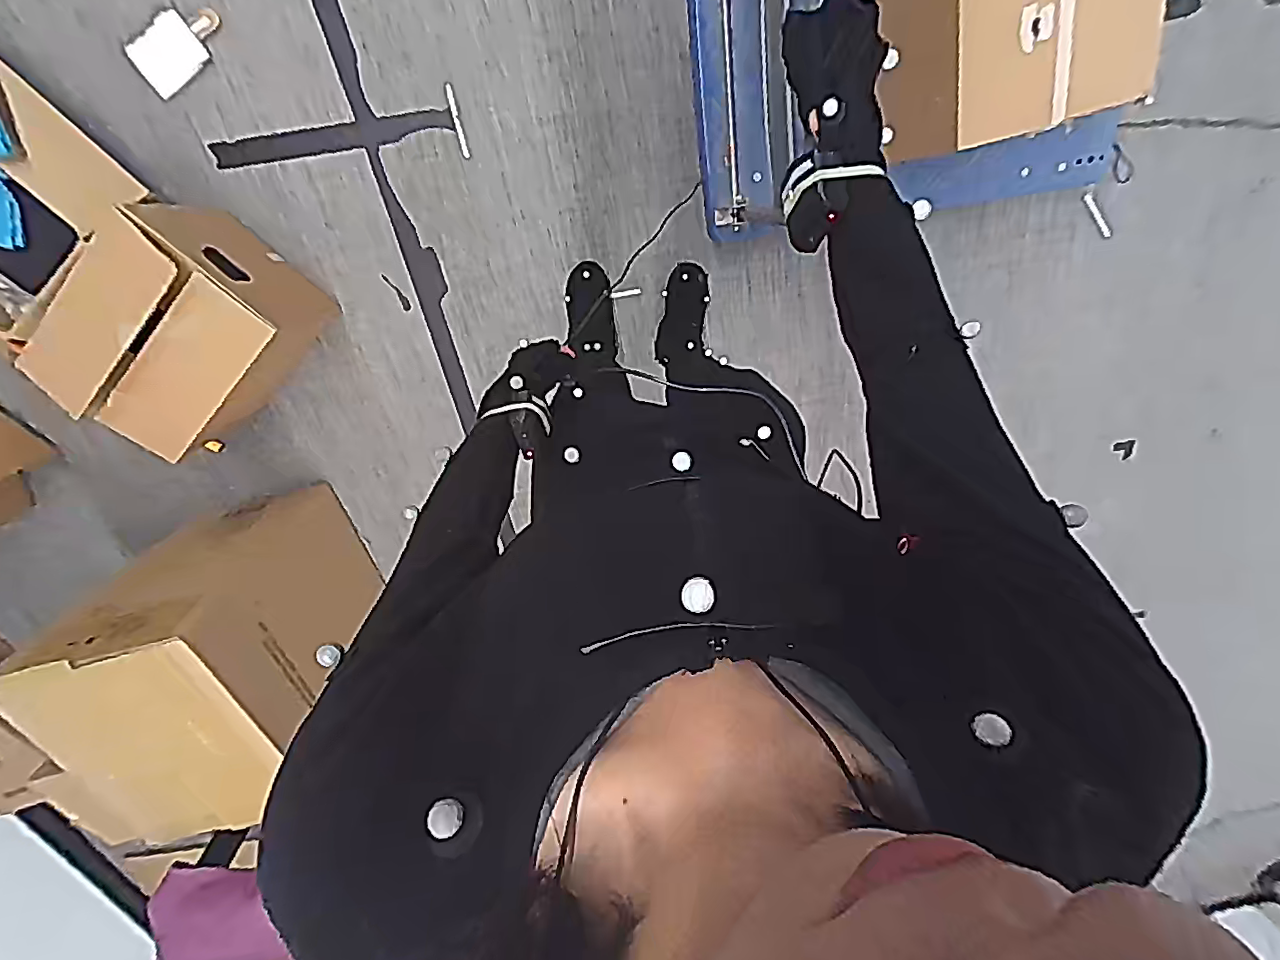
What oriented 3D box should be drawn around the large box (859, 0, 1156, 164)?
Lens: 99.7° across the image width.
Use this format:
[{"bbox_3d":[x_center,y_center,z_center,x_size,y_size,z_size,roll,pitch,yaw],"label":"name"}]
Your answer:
[{"bbox_3d":[0.588,-0.804,0.907,0.320,0.320,0.408,-15,117,2],"label":"large box"}]
